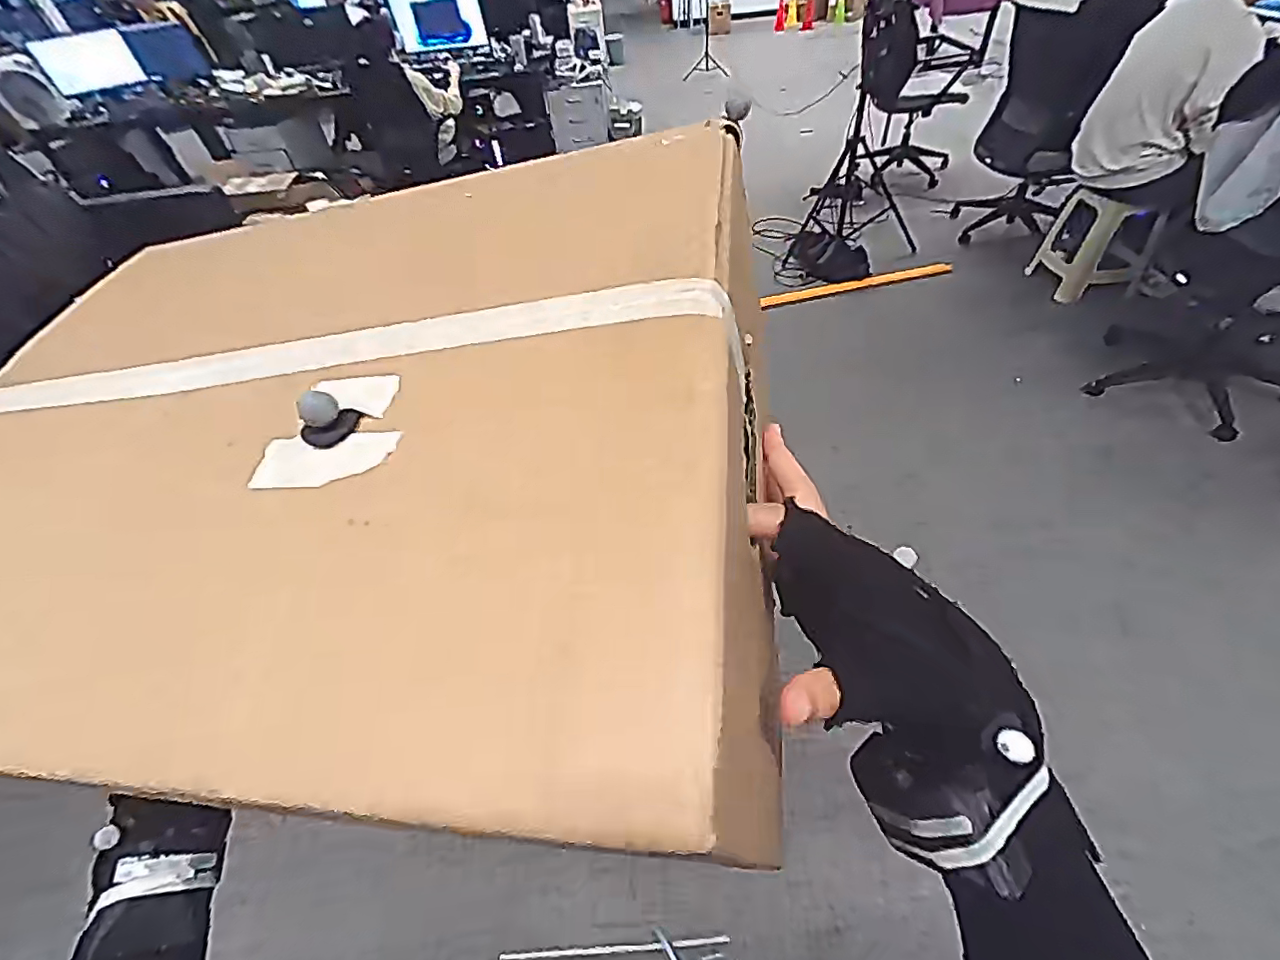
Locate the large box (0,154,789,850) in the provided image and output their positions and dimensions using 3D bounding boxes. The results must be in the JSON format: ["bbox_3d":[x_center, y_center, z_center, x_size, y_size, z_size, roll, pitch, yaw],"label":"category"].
[{"bbox_3d":[-0.114,0.041,0.373,0.408,0.320,0.320,-3,54,15],"label":"large box"}]
